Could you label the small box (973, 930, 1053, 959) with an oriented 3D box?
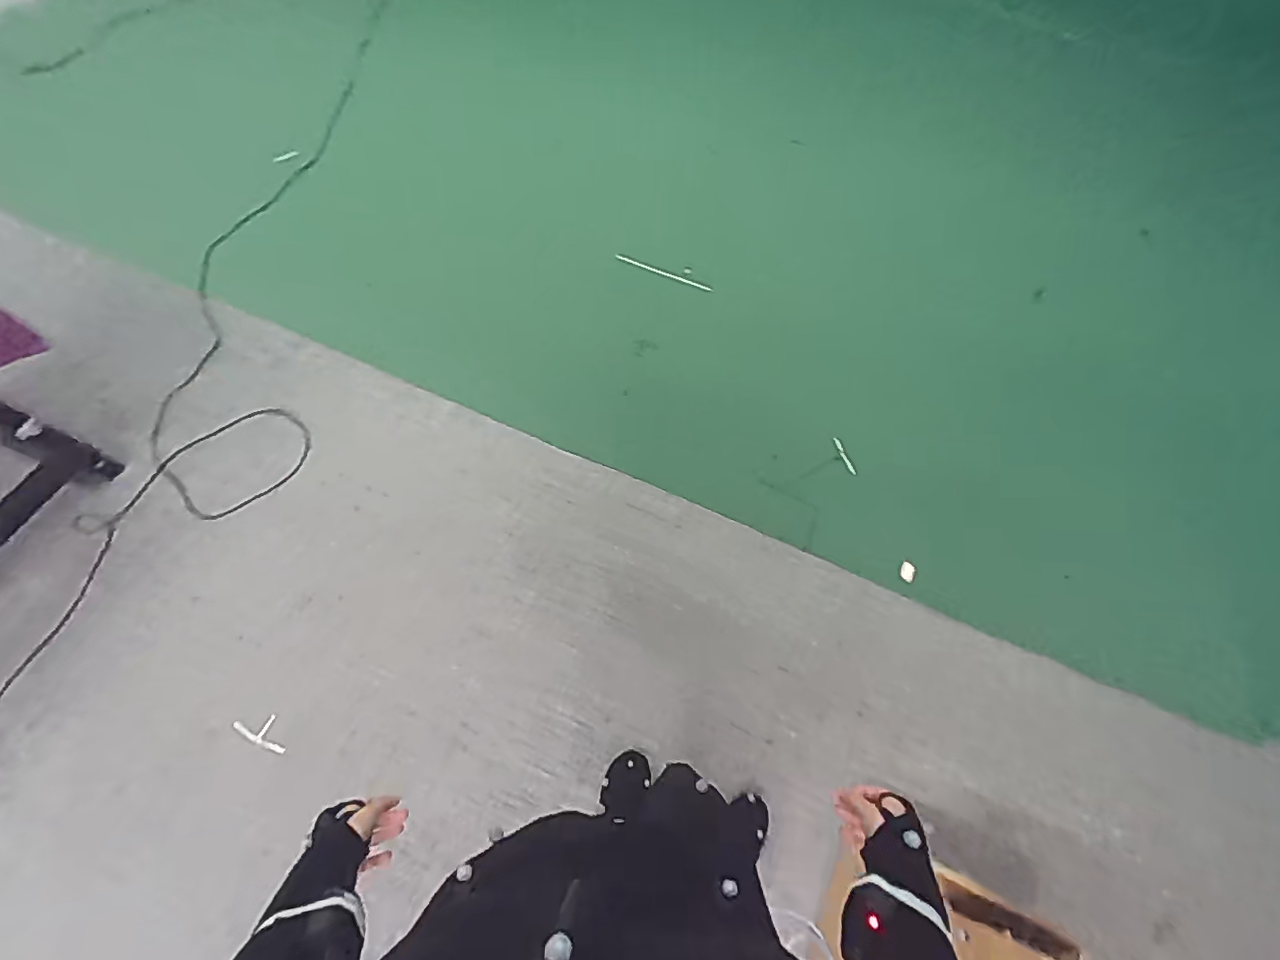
[{"bbox_3d":[0.667,0.877,0.871,0.179,0.176,0.168,22,66,10],"label":"small box"}]
